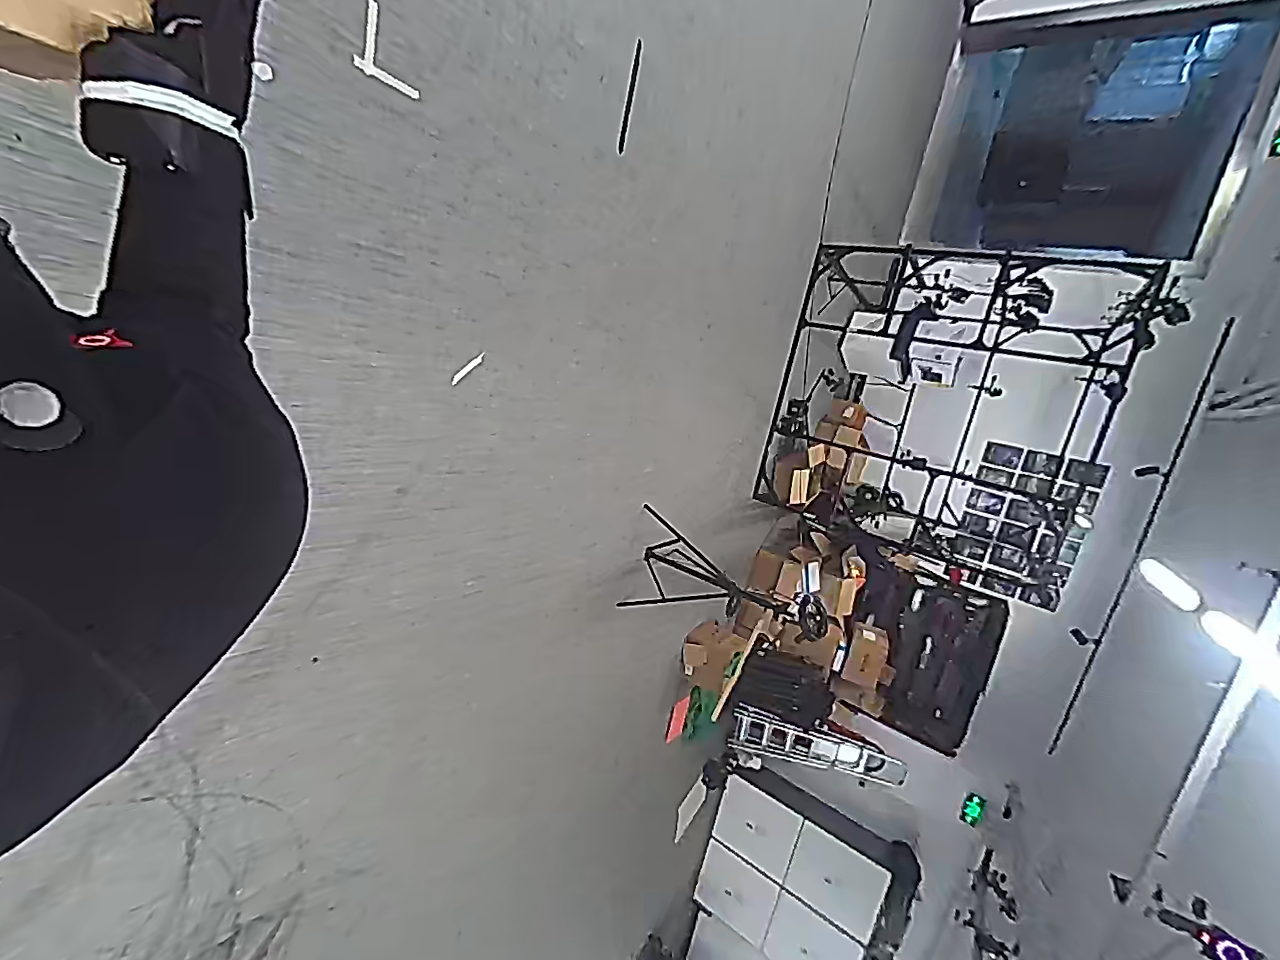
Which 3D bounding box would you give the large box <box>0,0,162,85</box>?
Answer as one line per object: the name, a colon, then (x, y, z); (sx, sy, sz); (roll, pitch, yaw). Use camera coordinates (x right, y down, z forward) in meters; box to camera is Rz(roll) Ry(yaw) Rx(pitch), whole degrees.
large box: (-0.530, -0.445, 0.243); (0.408, 0.320, 0.320); (-12, 123, -56)
